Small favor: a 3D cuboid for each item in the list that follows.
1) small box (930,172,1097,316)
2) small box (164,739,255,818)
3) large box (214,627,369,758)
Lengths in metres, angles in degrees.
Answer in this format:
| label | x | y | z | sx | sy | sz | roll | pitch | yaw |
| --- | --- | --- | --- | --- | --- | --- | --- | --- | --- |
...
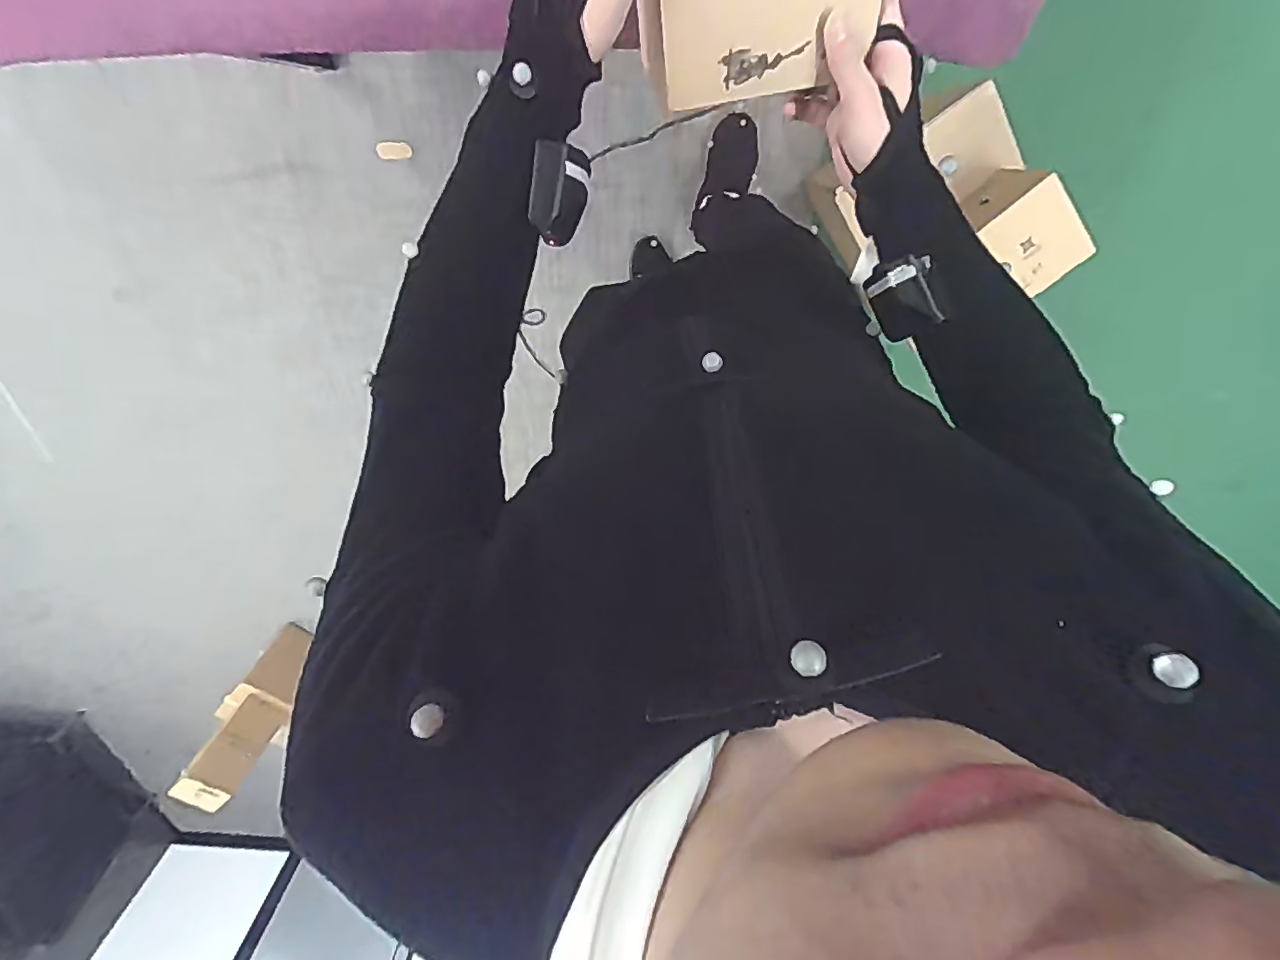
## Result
| label | x | y | z | sx | sy | sz | roll | pitch | yaw |
| --- | --- | --- | --- | --- | --- | --- | --- | --- | --- |
| small box | 0.686 | -0.445 | 1.015 | 0.168 | 0.176 | 0.179 | -39 | 113 | 23 |
| small box | -1.516 | 1.054 | 1.917 | 0.179 | 0.176 | 0.168 | -39 | 112 | 25 |
| large box | -1.466 | 0.903 | 2.303 | 0.408 | 0.320 | 0.320 | 40 | 117 | -20 |
